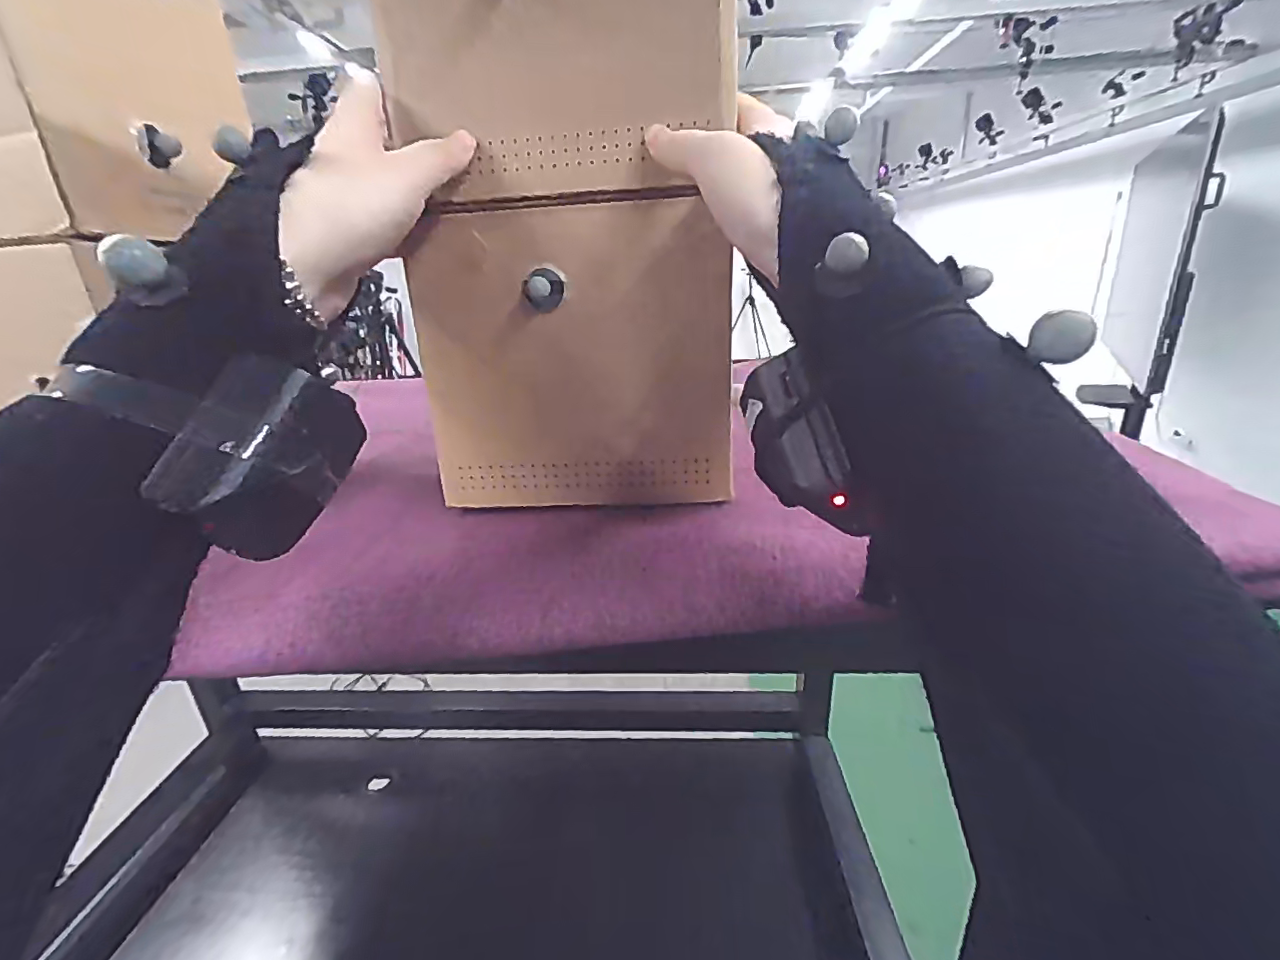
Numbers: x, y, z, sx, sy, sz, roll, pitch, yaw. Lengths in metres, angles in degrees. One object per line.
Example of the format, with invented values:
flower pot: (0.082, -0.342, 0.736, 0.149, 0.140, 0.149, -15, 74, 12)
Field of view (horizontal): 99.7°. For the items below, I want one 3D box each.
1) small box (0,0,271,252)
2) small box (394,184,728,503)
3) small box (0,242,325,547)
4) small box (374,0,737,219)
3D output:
small box: (-0.367, -0.216, 0.314, 0.179, 0.176, 0.168, -3, 21, 1)
small box: (-0.033, -0.088, 0.372, 0.179, 0.176, 0.168, -1, 19, 5)
small box: (-0.356, -0.063, 0.369, 0.179, 0.176, 0.168, -3, 21, 3)
small box: (-0.038, -0.243, 0.319, 0.179, 0.176, 0.168, -2, 19, 6)
